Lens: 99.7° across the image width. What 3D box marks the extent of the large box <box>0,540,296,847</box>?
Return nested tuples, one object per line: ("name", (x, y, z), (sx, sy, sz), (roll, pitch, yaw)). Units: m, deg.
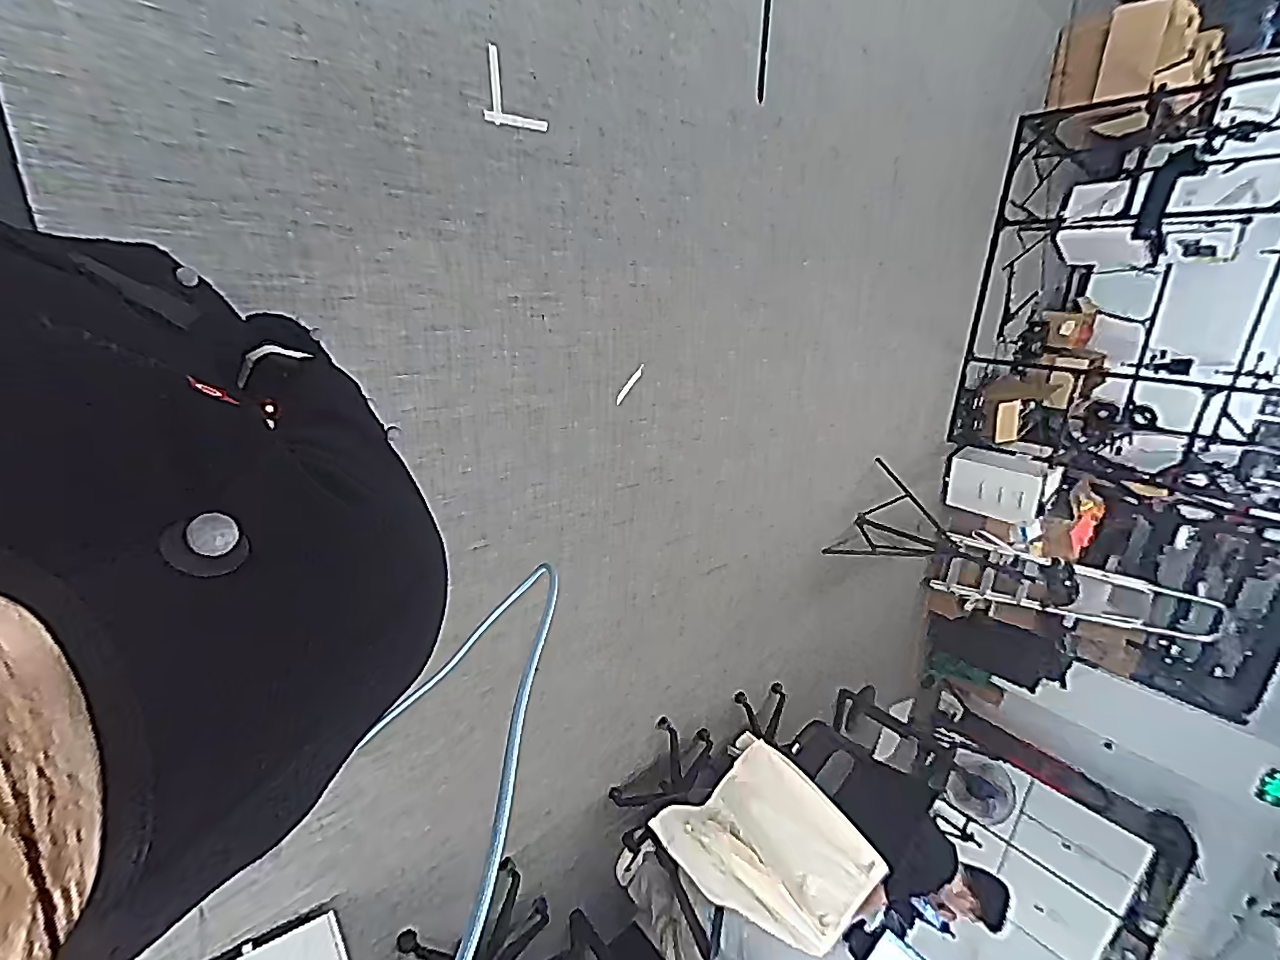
("large box", (-0.943, 0.354, 1.021), (0.408, 0.320, 0.320), (-17, 118, -38))
